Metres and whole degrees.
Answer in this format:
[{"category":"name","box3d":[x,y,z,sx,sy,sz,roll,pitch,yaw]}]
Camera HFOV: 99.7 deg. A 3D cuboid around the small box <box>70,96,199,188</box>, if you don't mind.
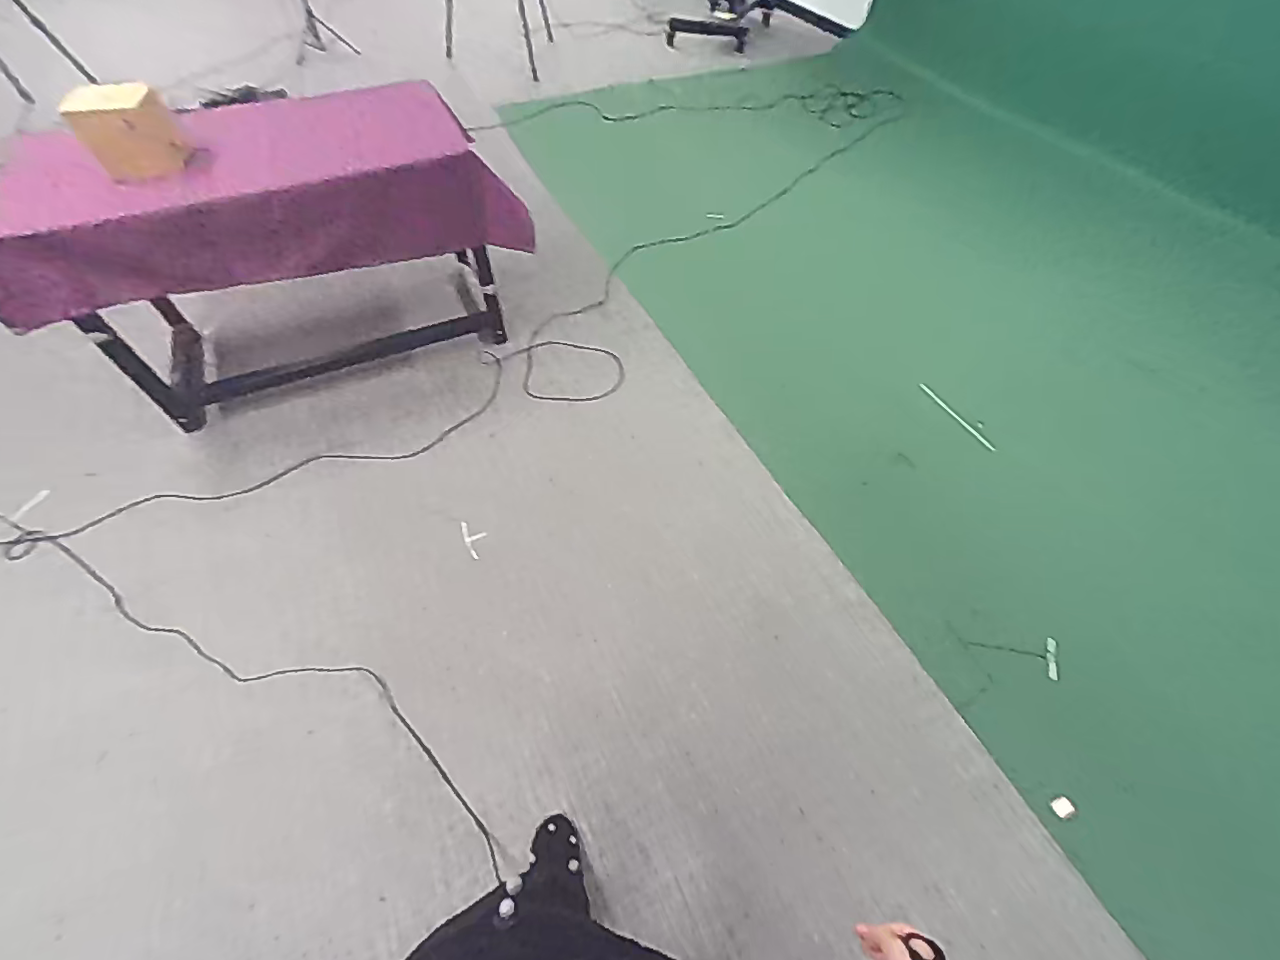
[{"category":"small box","box3d":[-1.375,-0.924,1.485,0.179,0.176,0.168,-11,55,-10]}]
